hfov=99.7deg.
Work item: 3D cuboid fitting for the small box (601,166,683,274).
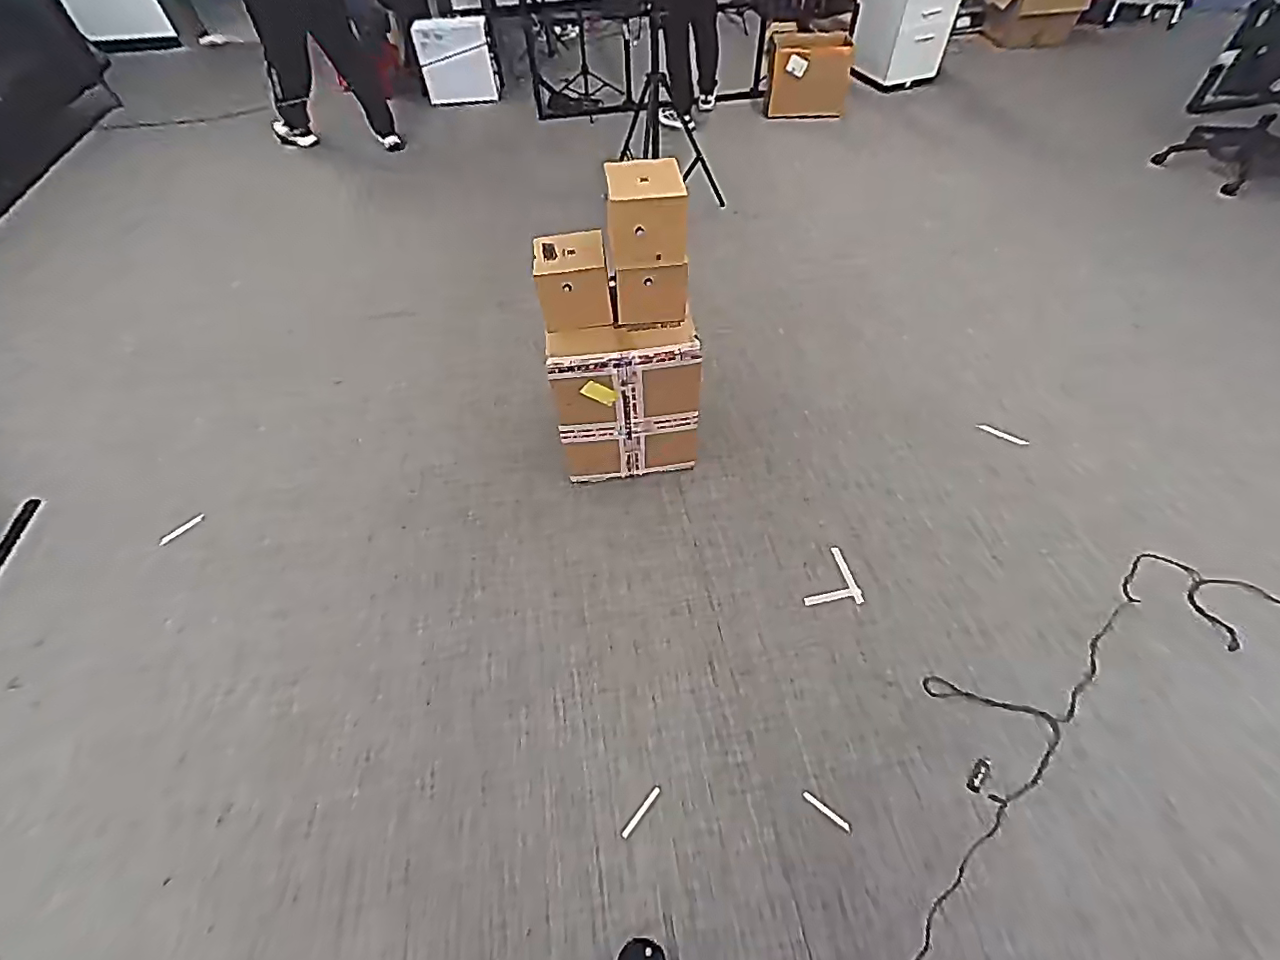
[{"bbox_3d":[0.005,-0.594,1.250,0.168,0.176,0.179,-7,53,-4],"label":"small box"}]
